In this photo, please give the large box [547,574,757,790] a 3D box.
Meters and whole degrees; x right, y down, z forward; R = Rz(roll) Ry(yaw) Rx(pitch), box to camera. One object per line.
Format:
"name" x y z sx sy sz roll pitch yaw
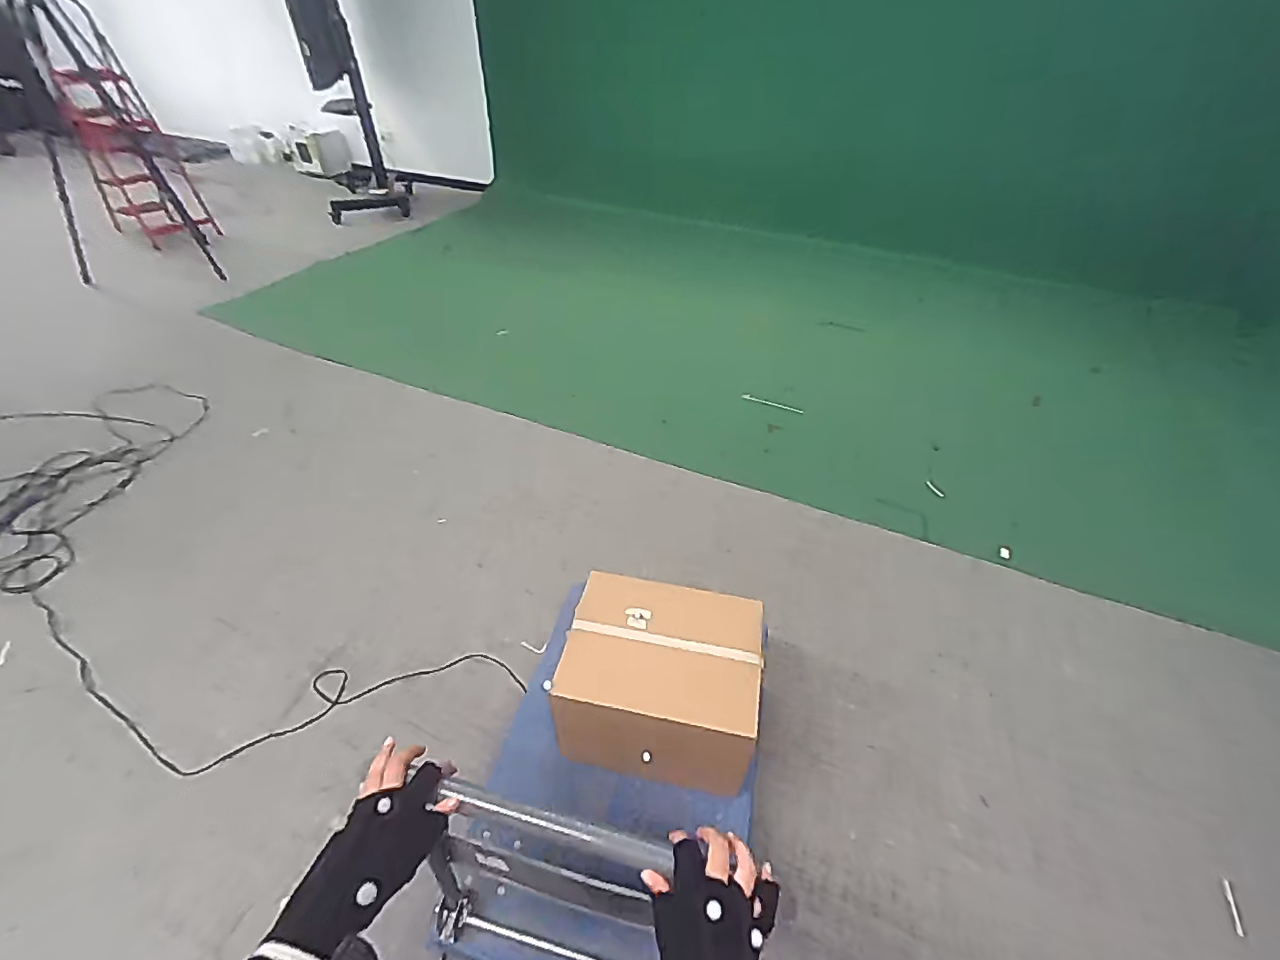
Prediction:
"large box" 0.043 0.456 1.232 0.408 0.320 0.320 8 41 9
